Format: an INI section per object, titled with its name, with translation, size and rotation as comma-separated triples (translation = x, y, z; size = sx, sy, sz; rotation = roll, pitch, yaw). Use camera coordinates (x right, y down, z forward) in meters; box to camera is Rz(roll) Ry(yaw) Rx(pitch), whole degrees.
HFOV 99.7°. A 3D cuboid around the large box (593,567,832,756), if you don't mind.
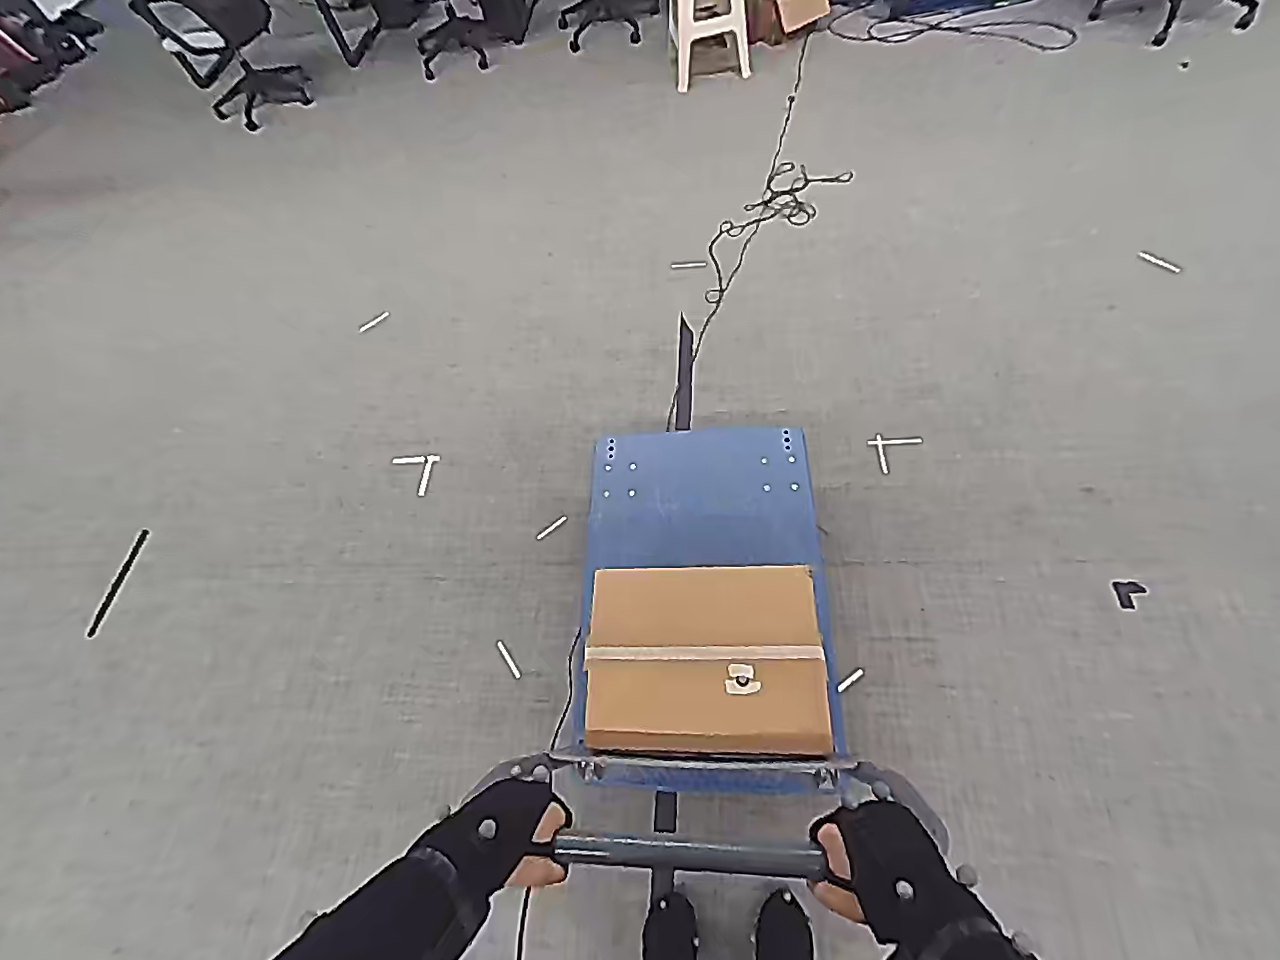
[large box]
translation = 0.132, 0.379, 1.089
size = 0.408, 0.320, 0.320
rotation = -3, 63, 7
